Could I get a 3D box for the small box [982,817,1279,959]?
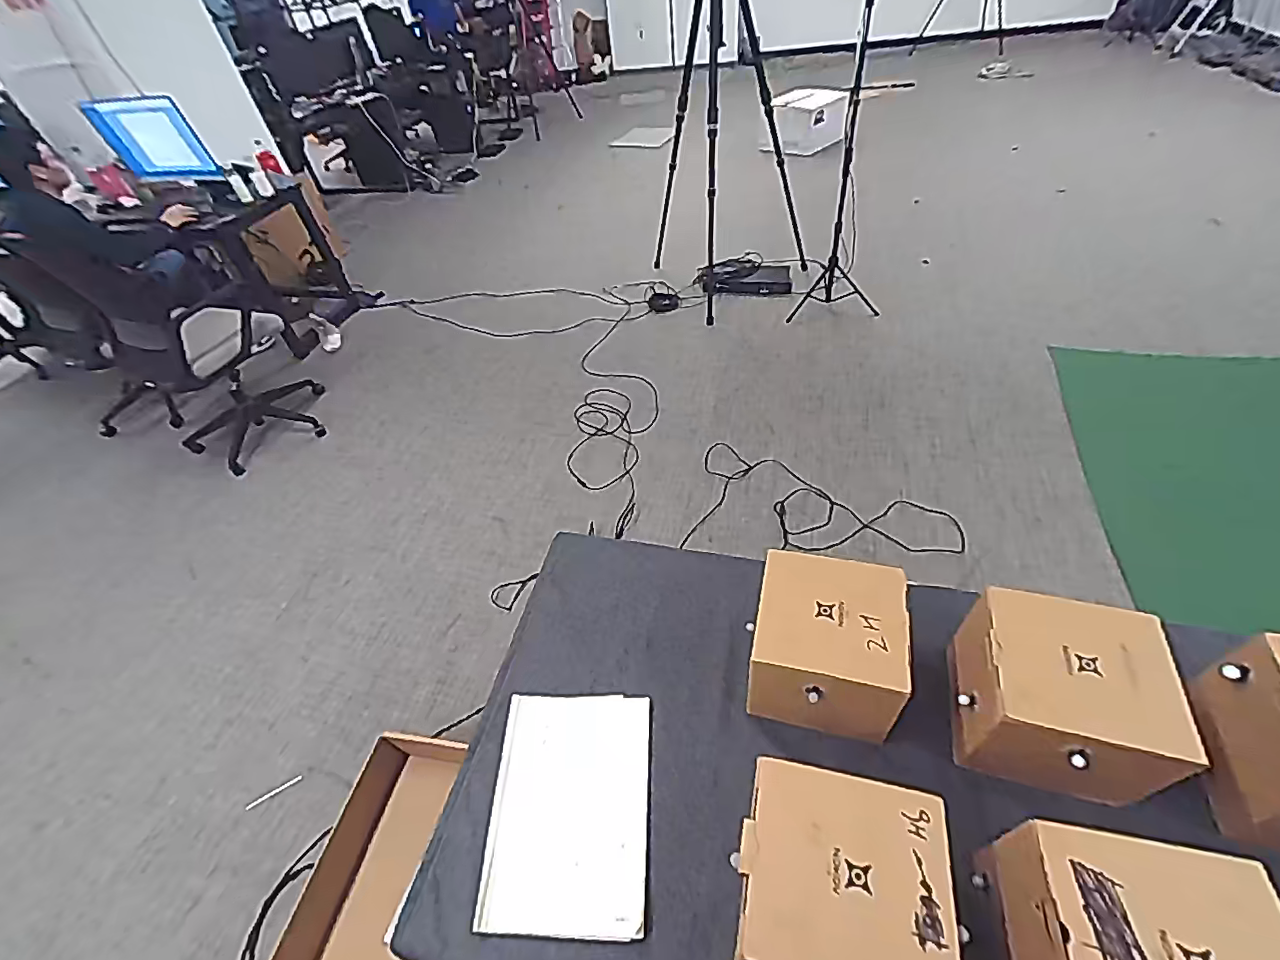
[{"bbox_3d":[0.429,0.427,0.476,0.179,0.176,0.168,5,46,12],"label":"small box"}]
